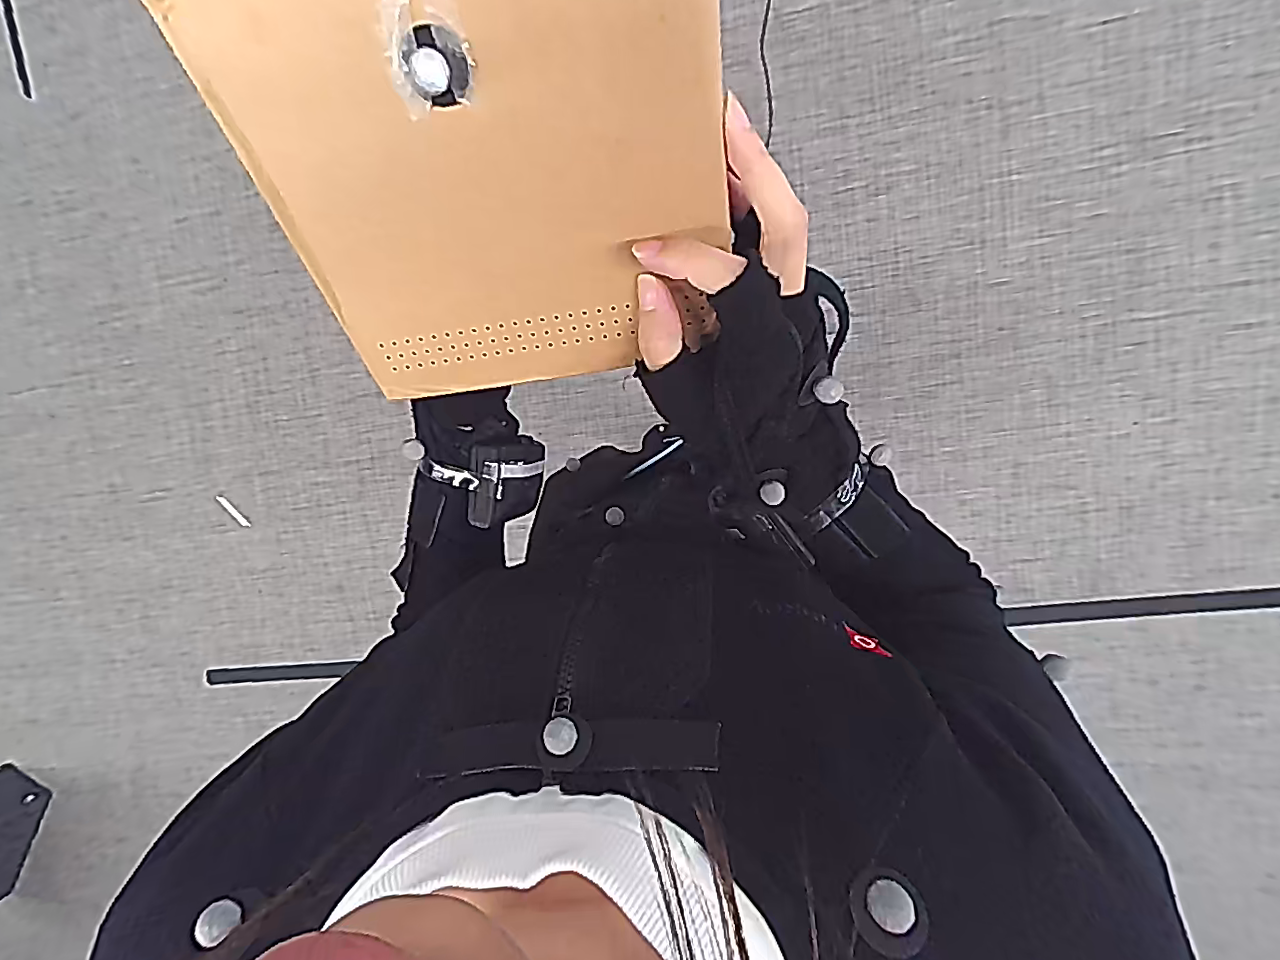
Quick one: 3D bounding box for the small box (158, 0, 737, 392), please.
[{"bbox_3d":[-0.051,-0.159,0.267,0.179,0.168,0.176,-6,136,7],"label":"small box"}]
